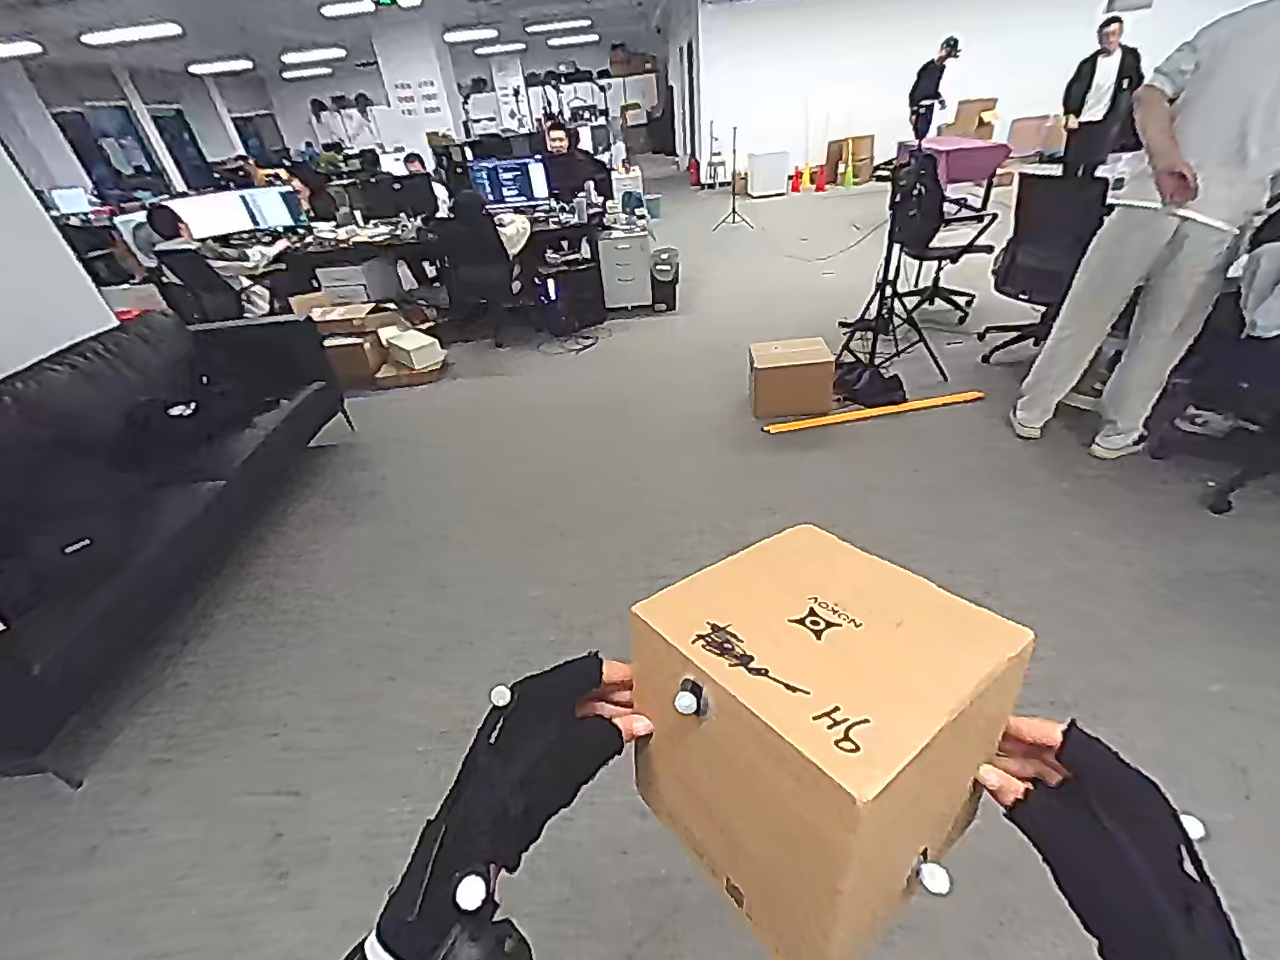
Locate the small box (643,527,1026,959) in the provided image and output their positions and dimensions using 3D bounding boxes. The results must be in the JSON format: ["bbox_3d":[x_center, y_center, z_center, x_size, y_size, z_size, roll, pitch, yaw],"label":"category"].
[{"bbox_3d":[0.115,0.158,0.367,0.179,0.176,0.168,-17,28,-33],"label":"small box"}]
